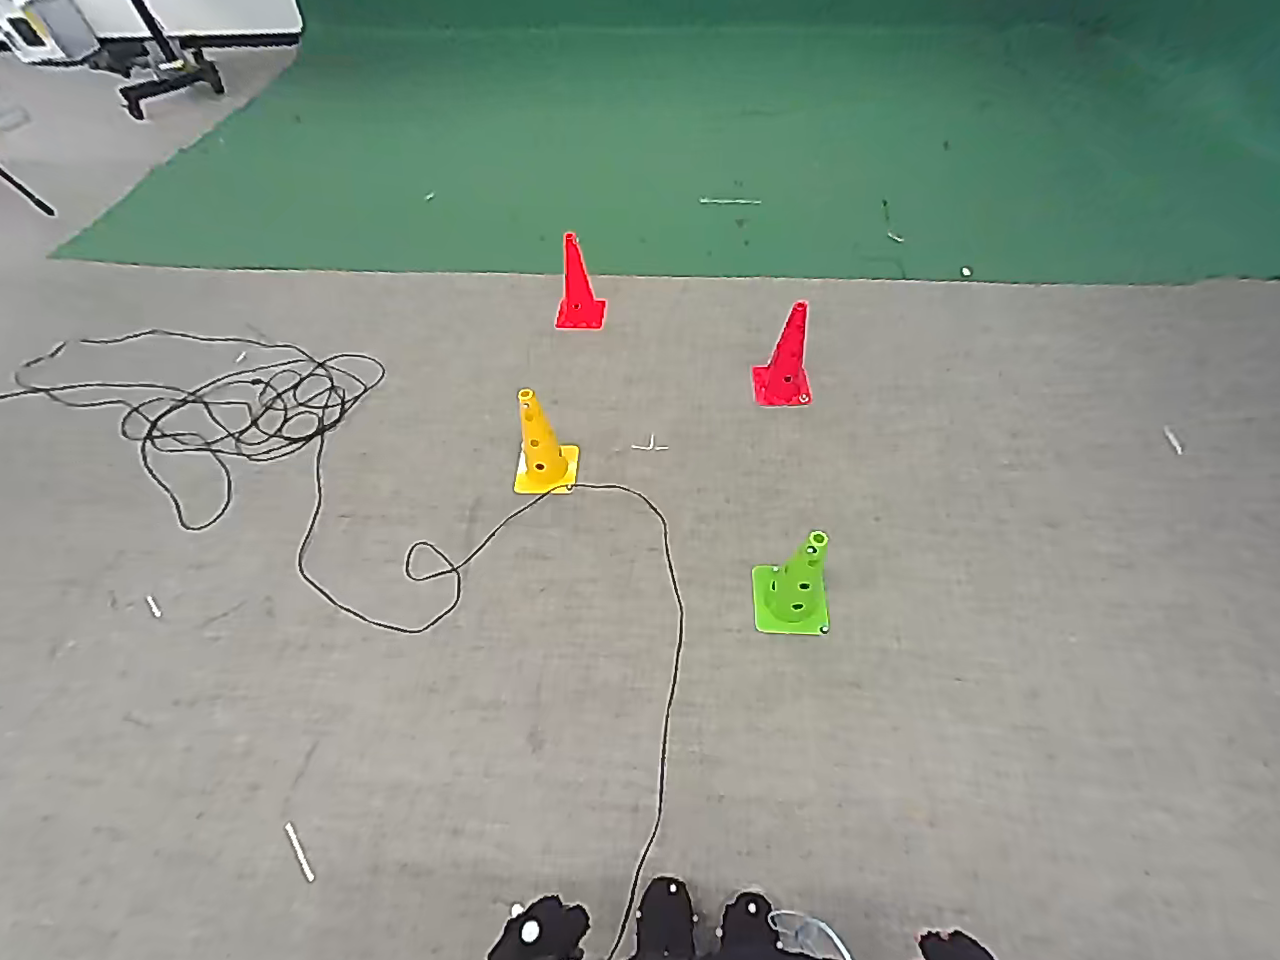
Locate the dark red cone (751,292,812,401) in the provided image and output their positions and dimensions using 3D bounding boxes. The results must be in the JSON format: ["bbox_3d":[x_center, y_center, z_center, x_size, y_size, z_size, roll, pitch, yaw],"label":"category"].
[{"bbox_3d":[0.511,-0.465,1.857,0.202,0.394,0.201,-2,53,1],"label":"dark red cone"}]

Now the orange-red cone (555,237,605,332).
[{"bbox_3d":[-0.262,-0.793,2.161,0.198,0.360,0.199,2,55,5],"label":"orange-red cone"}]

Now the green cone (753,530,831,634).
[{"bbox_3d":[0.416,0.234,1.387,0.202,0.368,0.200,0,54,4],"label":"green cone"}]
